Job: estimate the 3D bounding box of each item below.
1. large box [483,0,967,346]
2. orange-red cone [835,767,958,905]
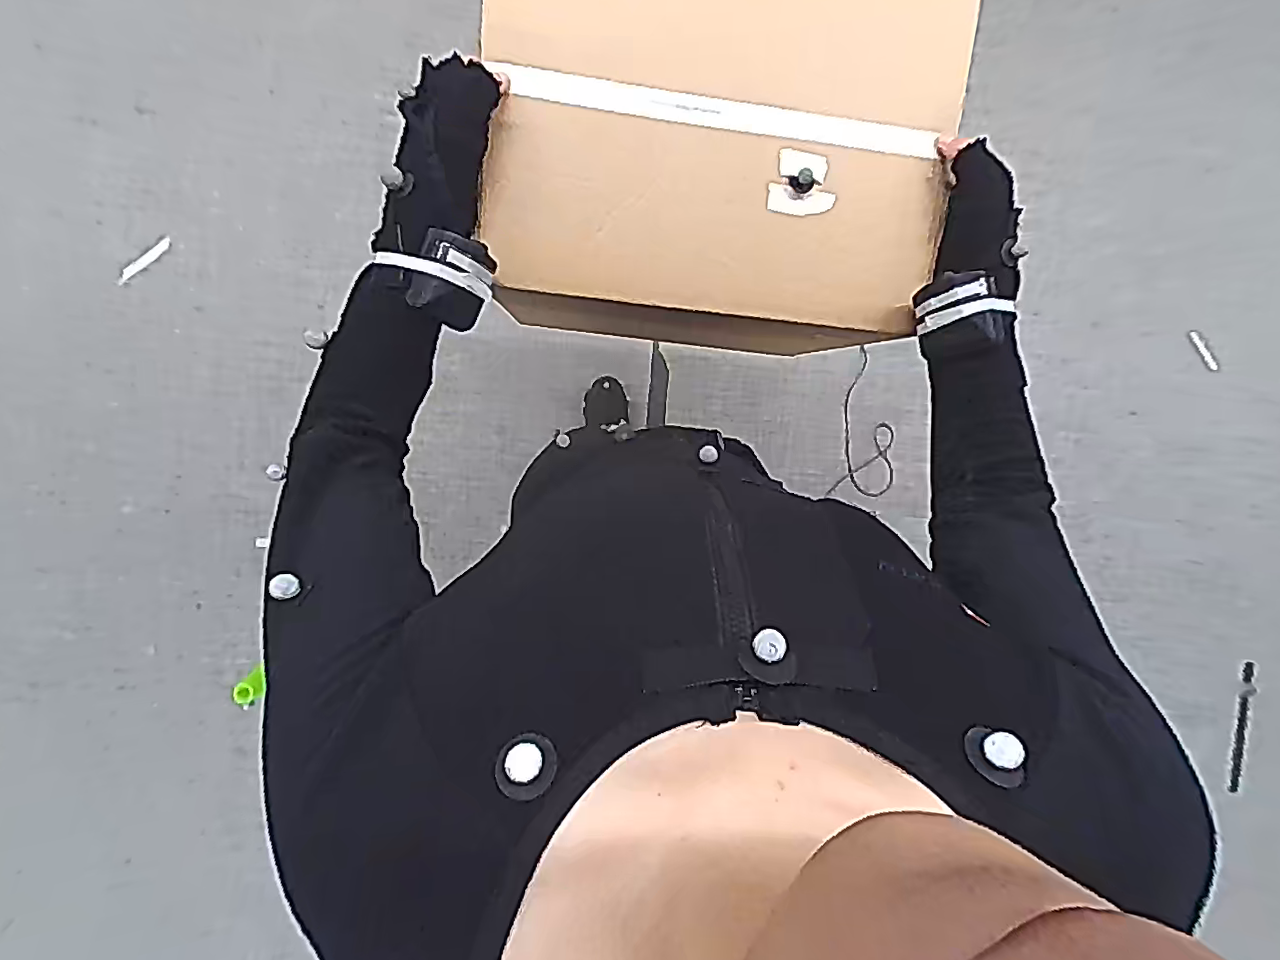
[{"bbox_3d":[0.056,-0.335,0.601,0.408,0.320,0.320,4,99,-8],"label":"large box"},{"bbox_3d":[0.664,0.912,1.360,0.198,0.360,0.199,1,90,-6],"label":"orange-red cone"}]
